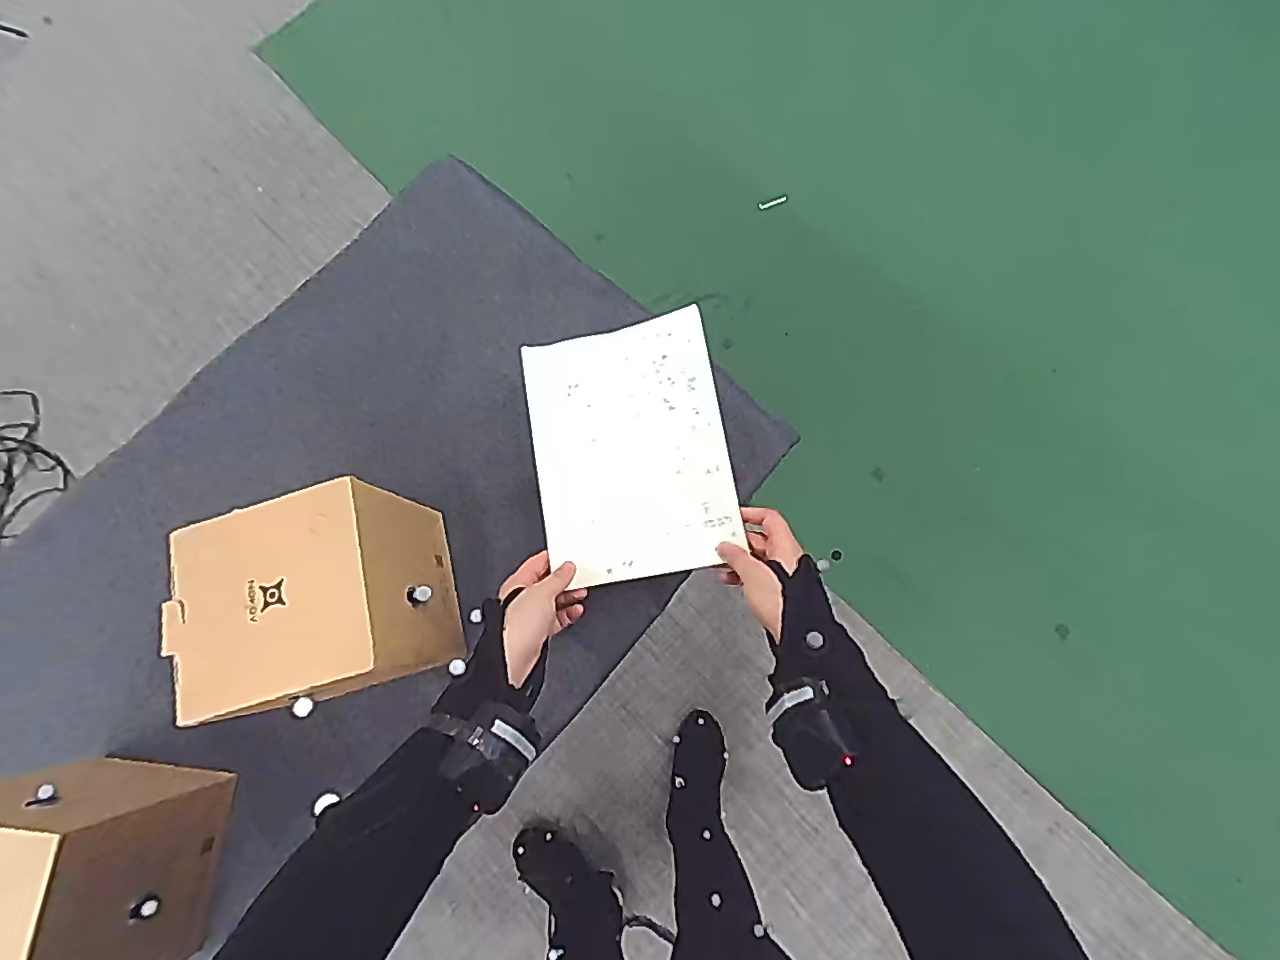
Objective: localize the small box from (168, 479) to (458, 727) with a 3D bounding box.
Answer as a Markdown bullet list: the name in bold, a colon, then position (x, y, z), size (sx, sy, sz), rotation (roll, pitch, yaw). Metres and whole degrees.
- **small box**: position (-0.295, 0.115, 0.521), size (0.179, 0.176, 0.168), rotation (-18, 75, 4)

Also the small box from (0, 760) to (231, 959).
- **small box**: position (-0.526, 0.368, 0.489), size (0.179, 0.176, 0.168), rotation (2, 76, 8)
